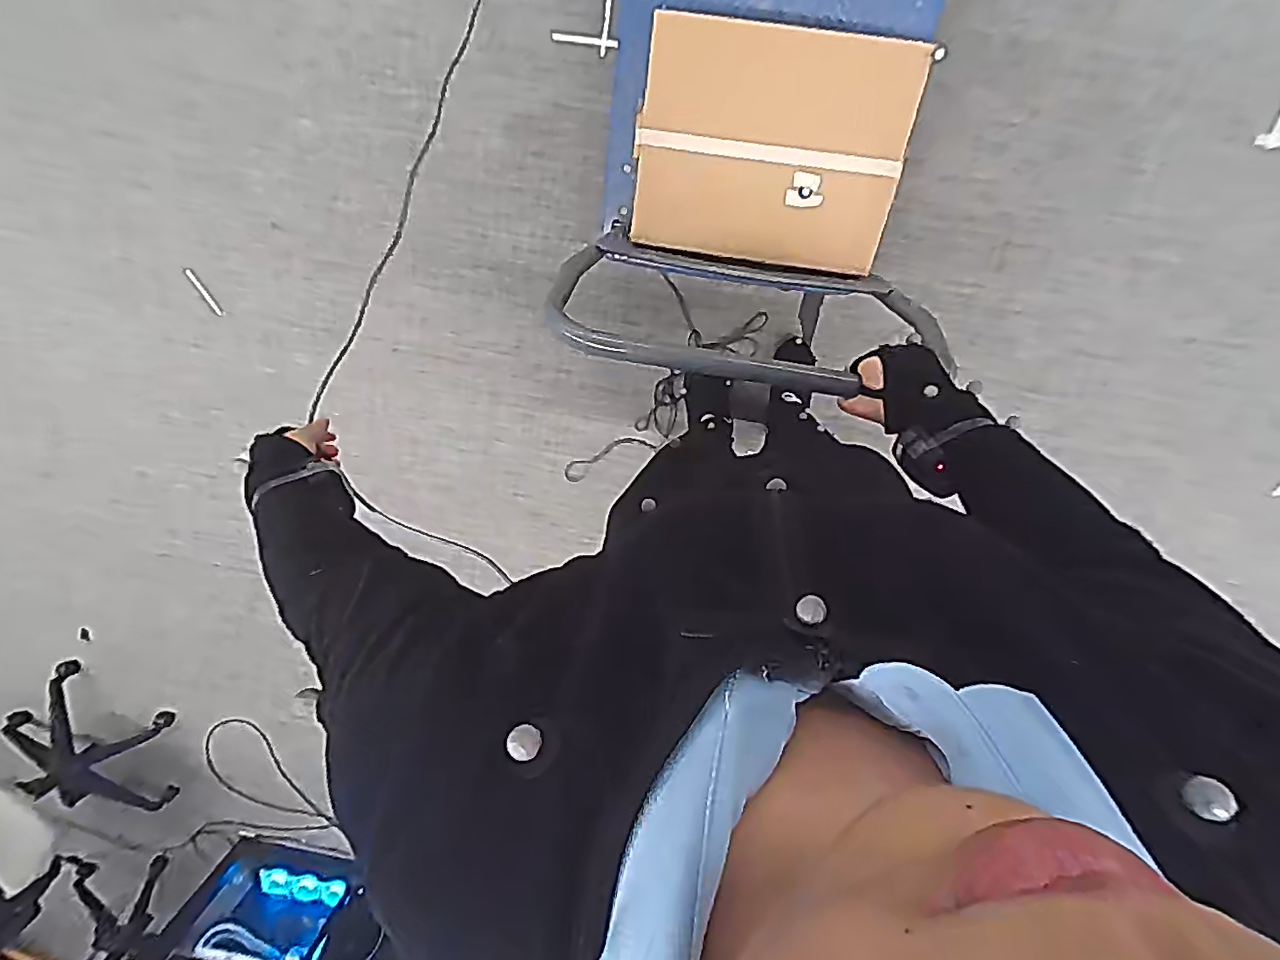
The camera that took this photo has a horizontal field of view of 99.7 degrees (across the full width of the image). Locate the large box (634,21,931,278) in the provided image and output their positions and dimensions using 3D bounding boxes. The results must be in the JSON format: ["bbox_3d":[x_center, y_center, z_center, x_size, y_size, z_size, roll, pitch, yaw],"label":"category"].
[{"bbox_3d":[0.212,-0.561,0.967,0.408,0.320,0.320,9,118,2],"label":"large box"}]
